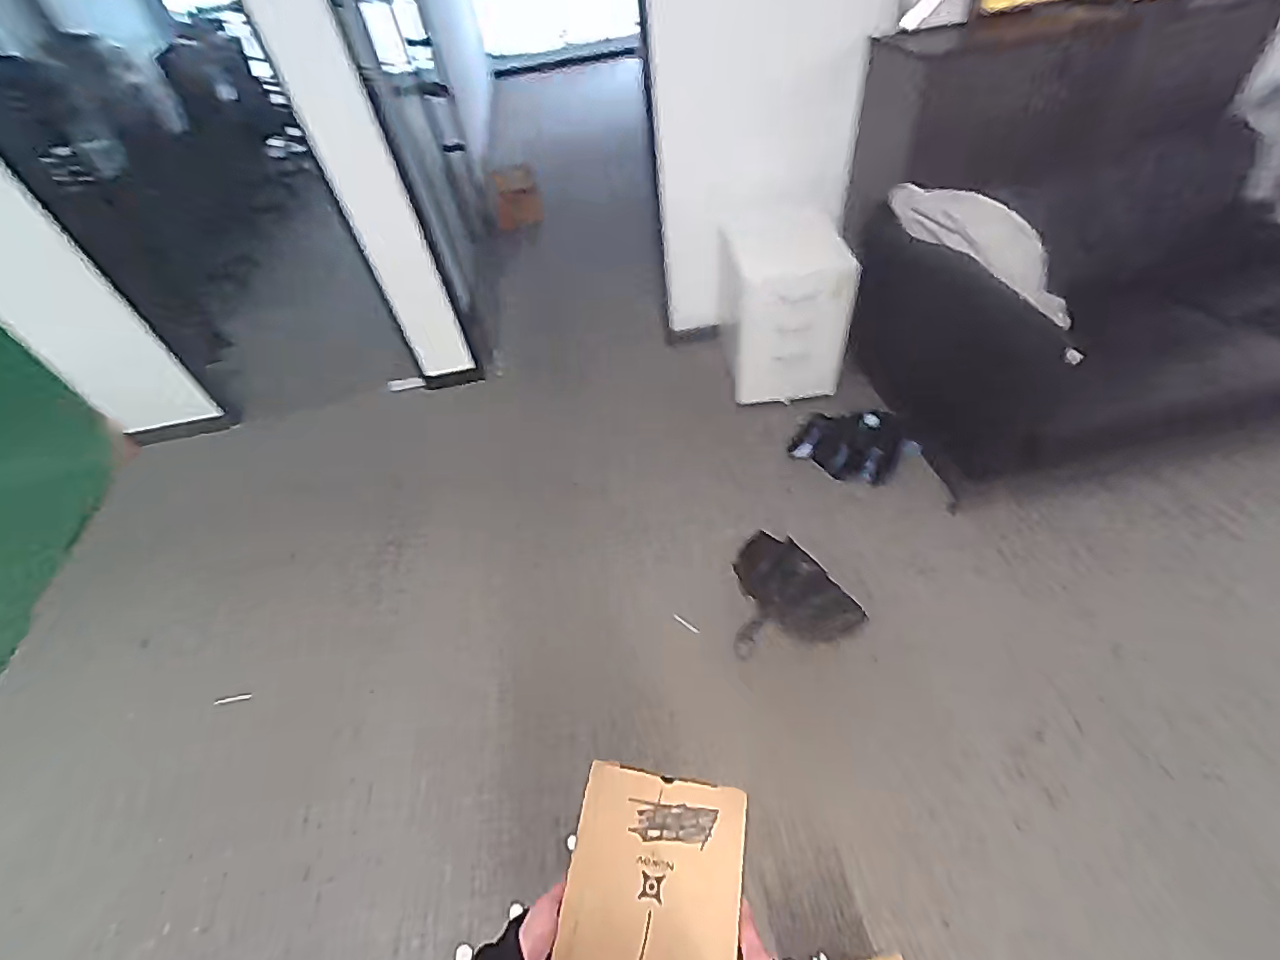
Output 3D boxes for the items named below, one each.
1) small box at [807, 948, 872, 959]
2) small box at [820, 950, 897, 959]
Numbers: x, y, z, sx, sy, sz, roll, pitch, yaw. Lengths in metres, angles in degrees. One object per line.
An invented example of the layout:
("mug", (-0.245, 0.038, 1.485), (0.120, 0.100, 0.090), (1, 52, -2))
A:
("small box", (0.379, 1.014, 1.024), (0.179, 0.176, 0.168), (-13, 49, -3))
("small box", (0.359, 0.910, 0.901), (0.179, 0.176, 0.168), (-11, 50, -4))
